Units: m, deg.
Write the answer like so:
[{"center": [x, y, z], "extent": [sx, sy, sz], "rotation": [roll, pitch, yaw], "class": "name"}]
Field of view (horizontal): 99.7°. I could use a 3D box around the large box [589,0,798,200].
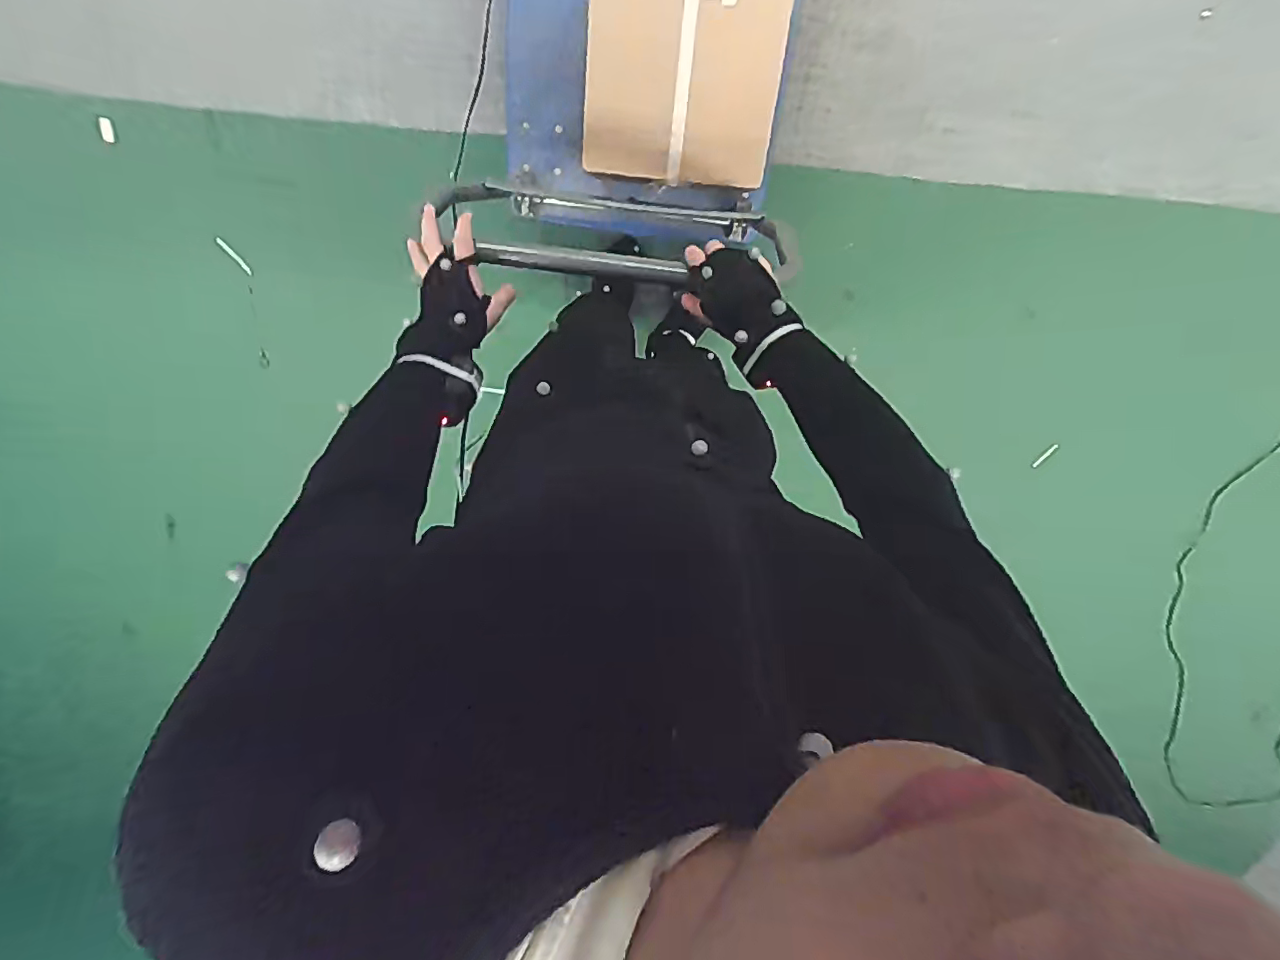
[{"center": [0.090, -0.752, 0.983], "extent": [0.320, 0.320, 0.408], "rotation": [6, 115, -1], "class": "large box"}]
